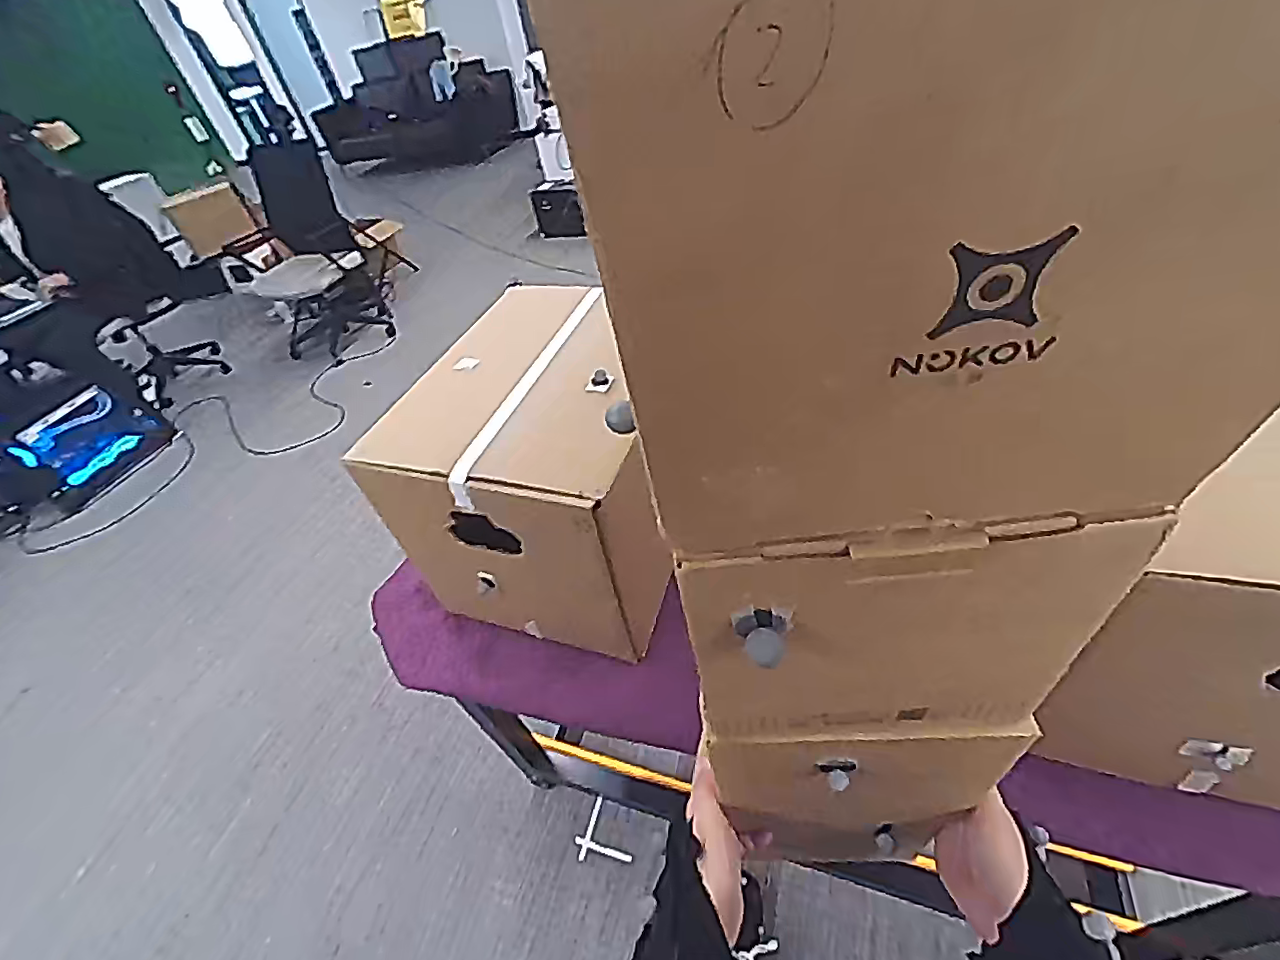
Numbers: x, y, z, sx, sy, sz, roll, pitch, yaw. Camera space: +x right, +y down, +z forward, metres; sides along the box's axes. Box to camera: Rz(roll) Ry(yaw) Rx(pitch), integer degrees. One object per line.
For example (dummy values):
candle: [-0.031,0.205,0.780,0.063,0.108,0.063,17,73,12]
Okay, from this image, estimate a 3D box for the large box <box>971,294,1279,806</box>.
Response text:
large box: [0.560,0.052,0.544,0.320,0.320,0.408,7,45,19]

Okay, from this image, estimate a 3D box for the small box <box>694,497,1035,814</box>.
small box: [0.137,0.134,0.401,0.179,0.176,0.168,-5,45,8]
